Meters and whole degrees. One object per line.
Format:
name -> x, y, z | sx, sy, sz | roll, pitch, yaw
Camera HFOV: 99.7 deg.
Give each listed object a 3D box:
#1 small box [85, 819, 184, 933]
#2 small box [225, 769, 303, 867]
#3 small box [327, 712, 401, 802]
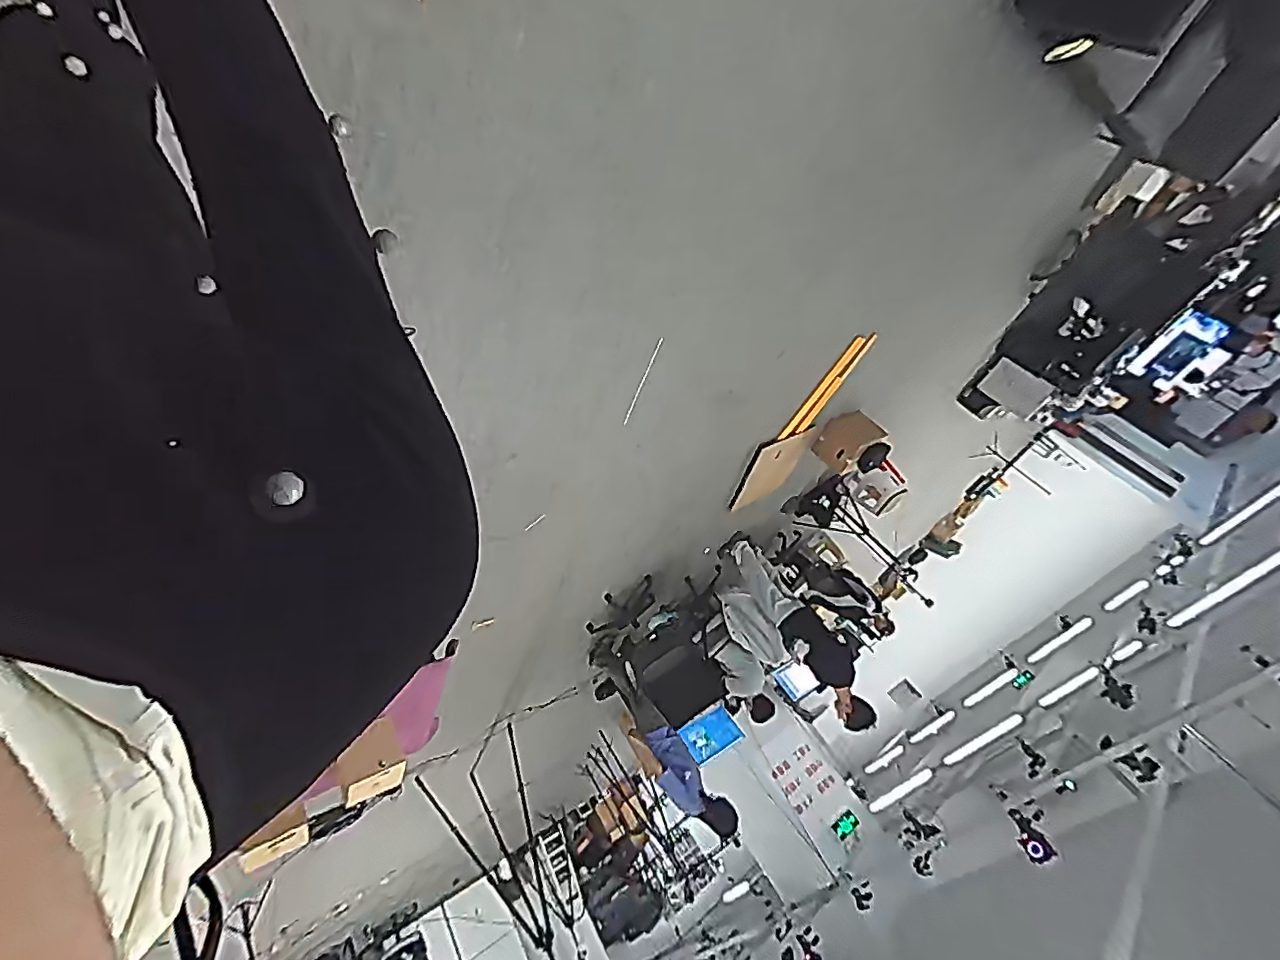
small box -> -1.342, 1.047, 1.439 | 0.168, 0.176, 0.179 | -13, 141, -40
small box -> -1.129, 1.007, 1.625 | 0.168, 0.176, 0.179 | -12, 141, -40
small box -> -0.882, 0.874, 1.719 | 0.168, 0.176, 0.179 | -10, 140, -41
